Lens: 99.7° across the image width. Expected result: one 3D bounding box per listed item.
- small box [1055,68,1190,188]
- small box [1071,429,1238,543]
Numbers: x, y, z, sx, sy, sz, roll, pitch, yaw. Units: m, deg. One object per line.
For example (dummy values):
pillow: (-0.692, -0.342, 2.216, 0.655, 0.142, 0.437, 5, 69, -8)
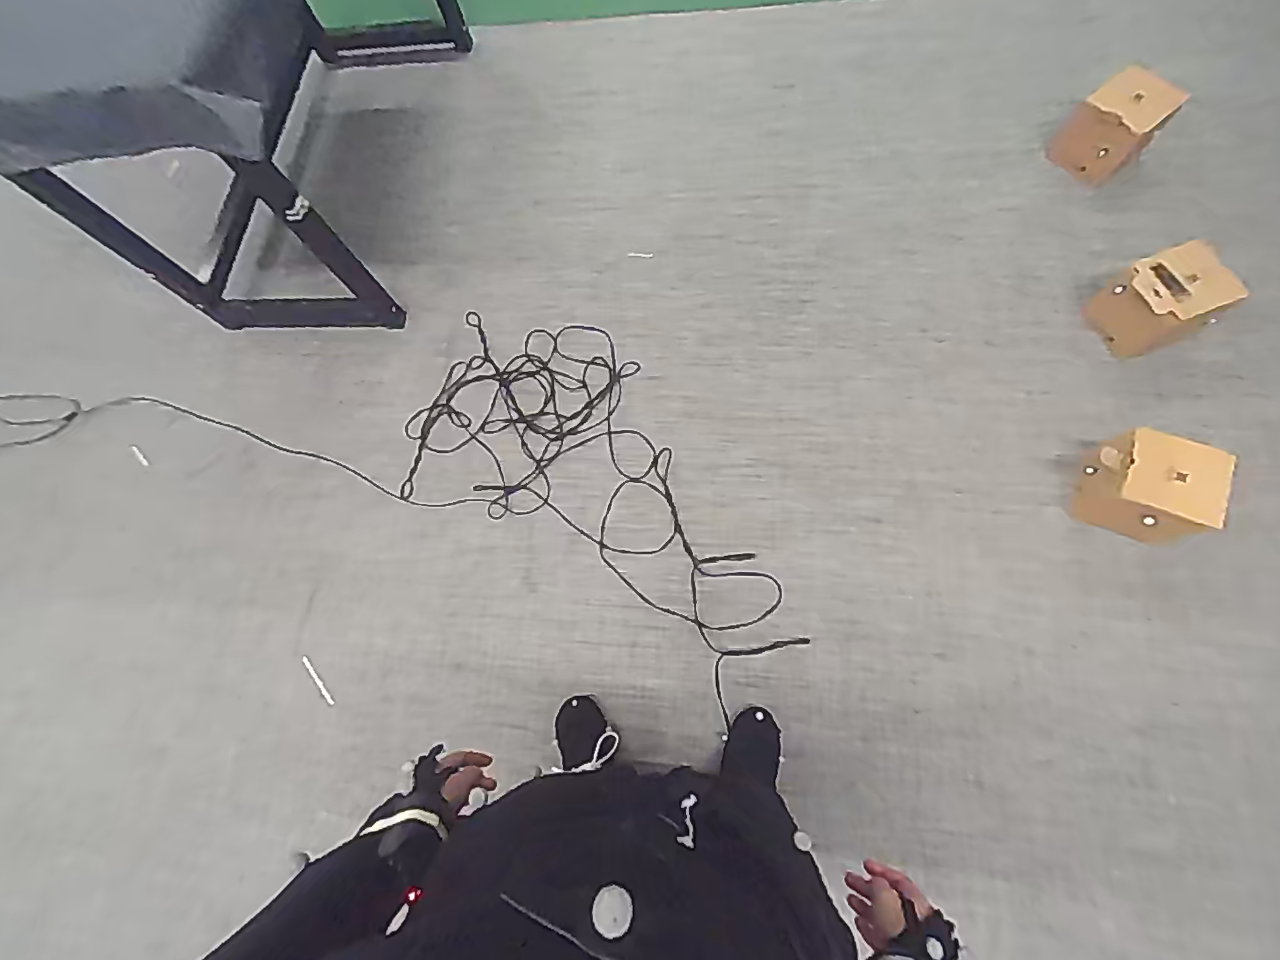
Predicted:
small box: (1.238, -0.910, 1.410, 0.179, 0.176, 0.168, -38, 73, -7)
small box: (1.061, 0.021, 1.128, 0.179, 0.176, 0.168, 22, 76, 13)
